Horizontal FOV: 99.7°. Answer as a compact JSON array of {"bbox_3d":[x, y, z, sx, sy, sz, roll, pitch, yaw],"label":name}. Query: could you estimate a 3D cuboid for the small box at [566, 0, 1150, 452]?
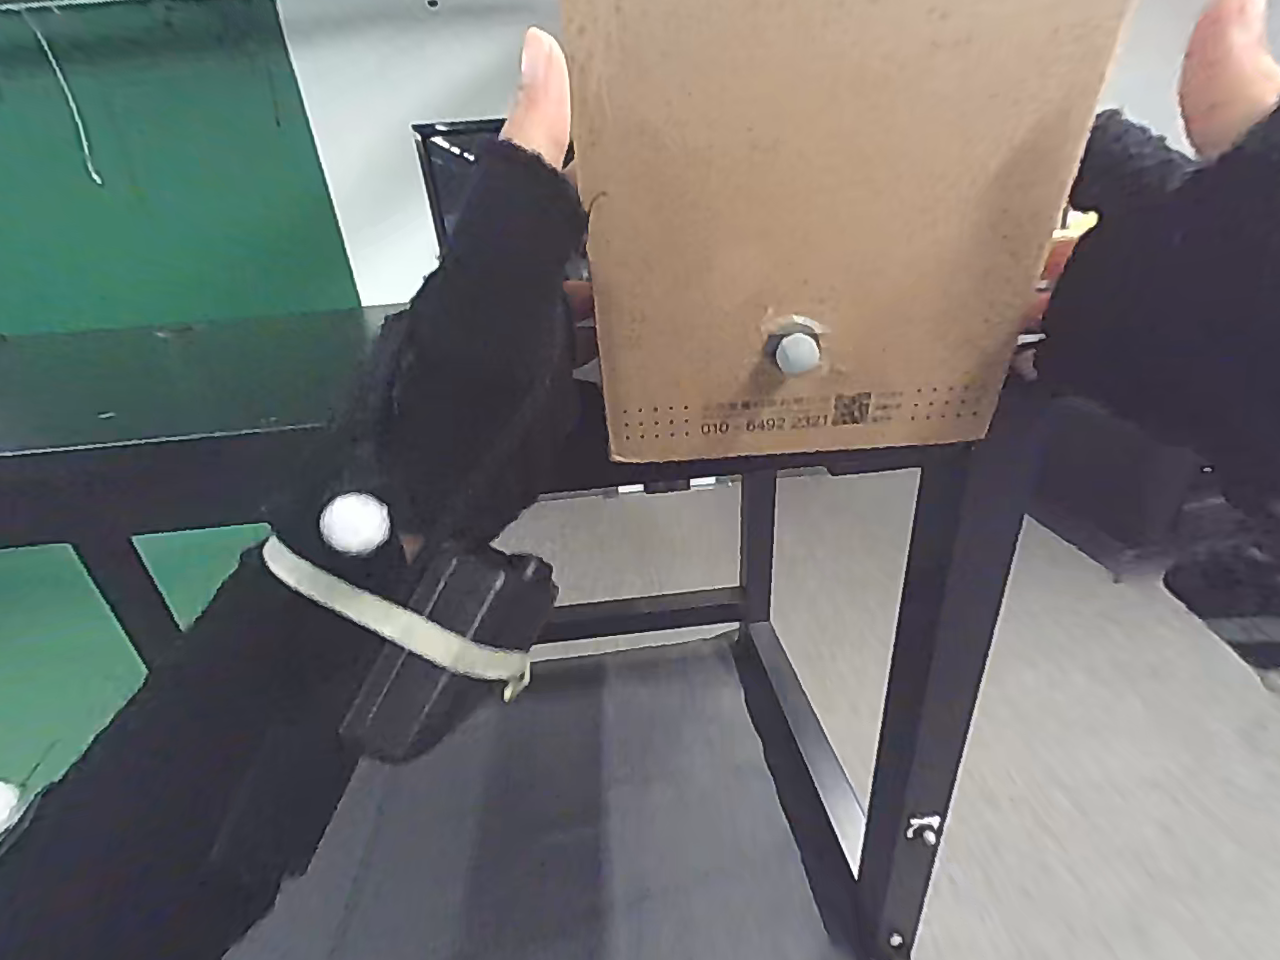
[{"bbox_3d":[0.064,-0.129,0.255,0.168,0.176,0.179,-3,36,2],"label":"small box"}]
